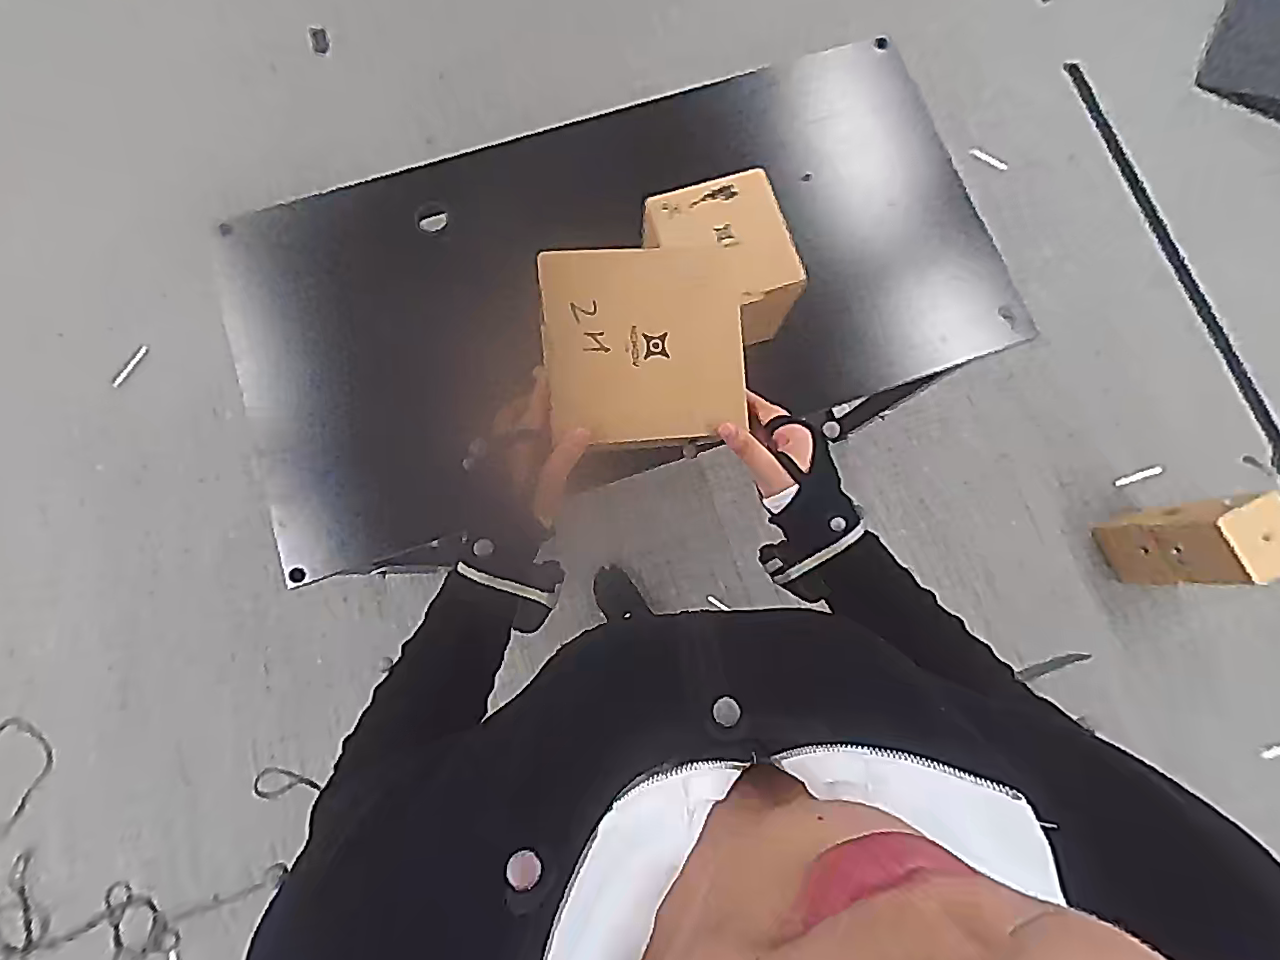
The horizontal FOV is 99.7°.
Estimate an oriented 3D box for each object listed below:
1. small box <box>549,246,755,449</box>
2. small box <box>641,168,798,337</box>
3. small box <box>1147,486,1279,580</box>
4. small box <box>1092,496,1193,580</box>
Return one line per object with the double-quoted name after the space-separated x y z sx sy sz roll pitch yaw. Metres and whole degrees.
0.001 -0.119 0.541 0.179 0.176 0.168 -4 92 -8 "small box"
0.103 -0.300 0.782 0.168 0.176 0.179 -17 81 -4 "small box"
1.410 0.131 1.309 0.179 0.176 0.168 -25 81 -4 "small box"
1.396 0.161 1.468 0.168 0.176 0.179 -22 82 -4 "small box"
